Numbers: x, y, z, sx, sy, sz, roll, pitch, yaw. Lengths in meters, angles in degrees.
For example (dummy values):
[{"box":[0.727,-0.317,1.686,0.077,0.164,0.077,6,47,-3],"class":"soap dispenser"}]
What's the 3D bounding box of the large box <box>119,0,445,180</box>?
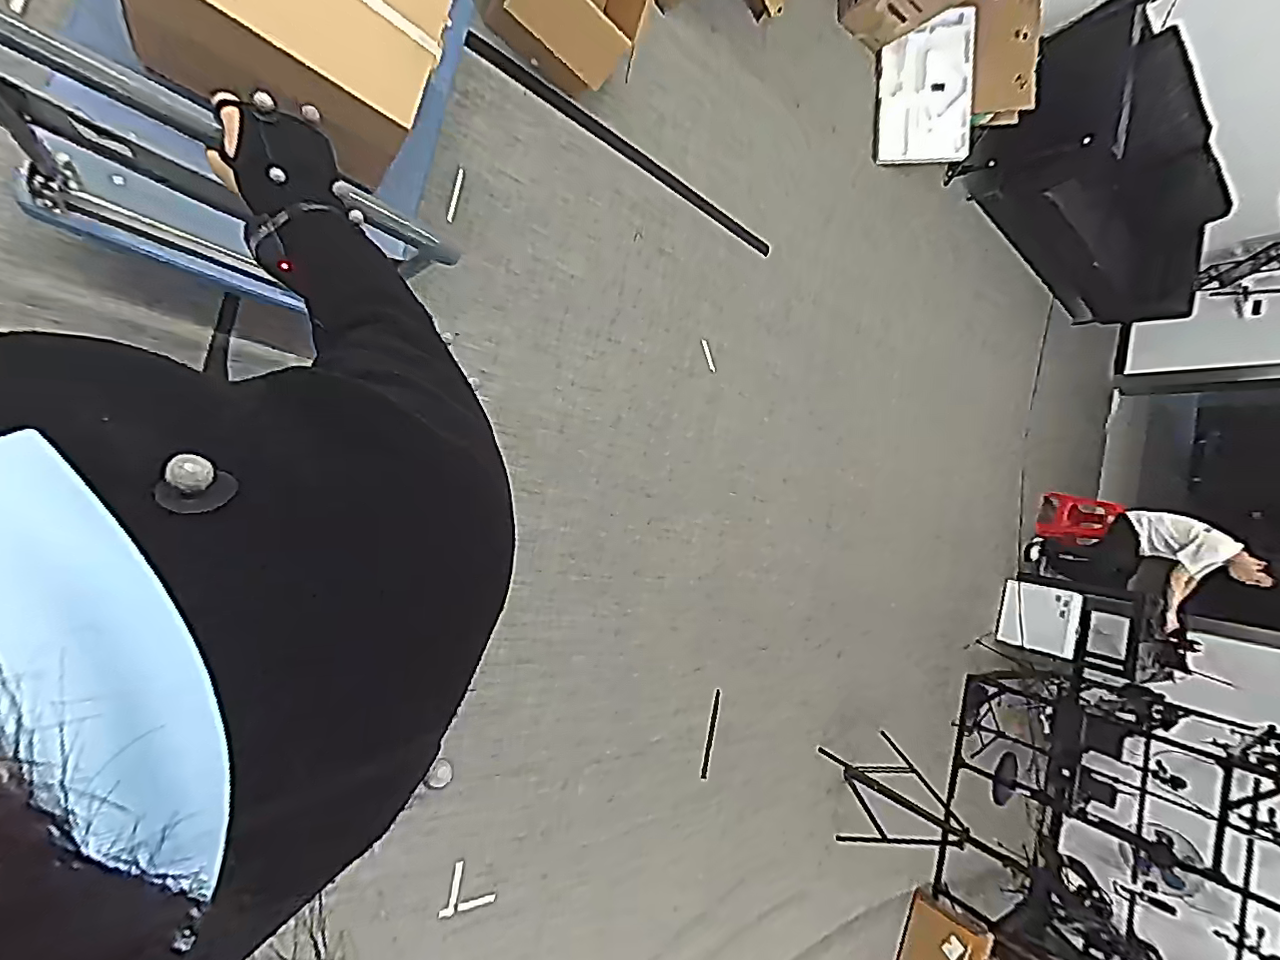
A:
[{"box":[-0.605,-0.825,0.951,0.408,0.320,0.320,19,82,-36],"class":"large box"}]
